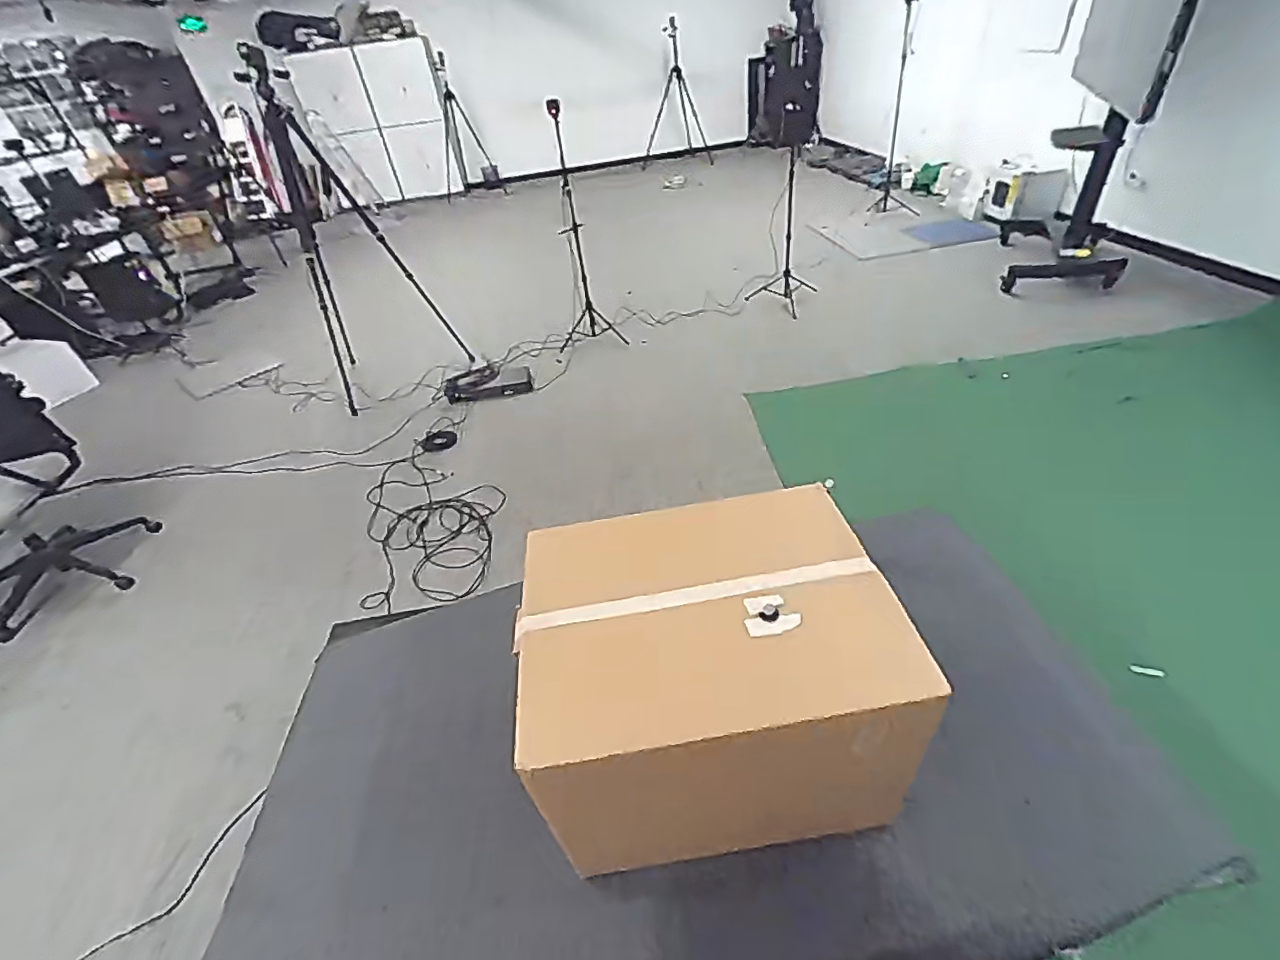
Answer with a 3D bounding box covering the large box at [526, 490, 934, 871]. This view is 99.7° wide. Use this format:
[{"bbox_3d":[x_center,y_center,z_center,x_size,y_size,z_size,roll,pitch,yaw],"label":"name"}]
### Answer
[{"bbox_3d":[0.083,0.254,0.713,0.408,0.320,0.320,-9,39,-2],"label":"large box"}]
